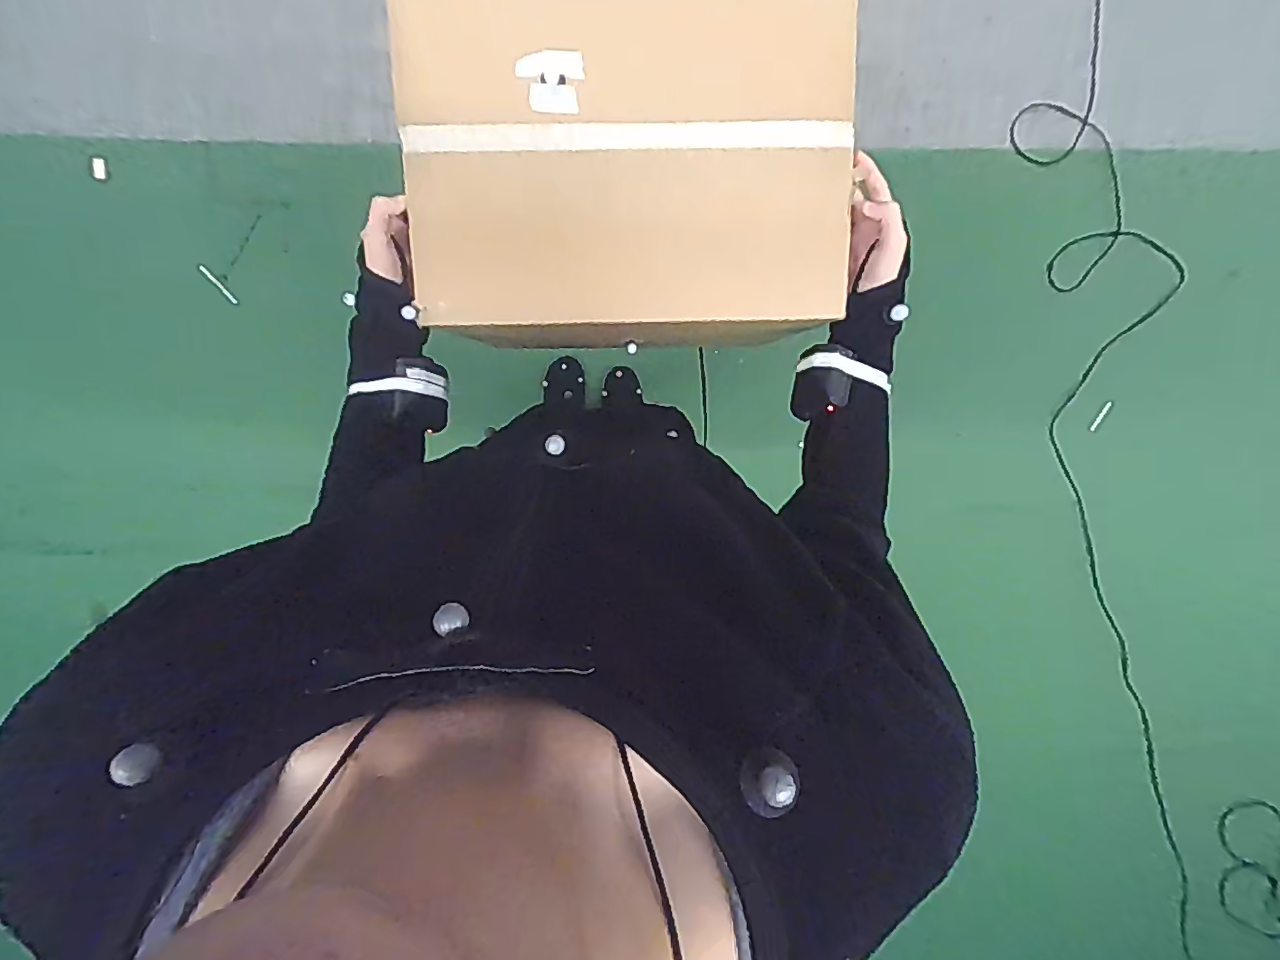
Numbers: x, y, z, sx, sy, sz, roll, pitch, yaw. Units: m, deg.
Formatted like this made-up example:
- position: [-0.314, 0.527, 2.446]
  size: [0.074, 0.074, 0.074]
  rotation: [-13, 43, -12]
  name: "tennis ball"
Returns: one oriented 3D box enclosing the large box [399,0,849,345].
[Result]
- position: [-0.011, -0.330, 0.643]
  size: [0.408, 0.320, 0.320]
  rotation: [-1, 100, -1]
  name: "large box"
